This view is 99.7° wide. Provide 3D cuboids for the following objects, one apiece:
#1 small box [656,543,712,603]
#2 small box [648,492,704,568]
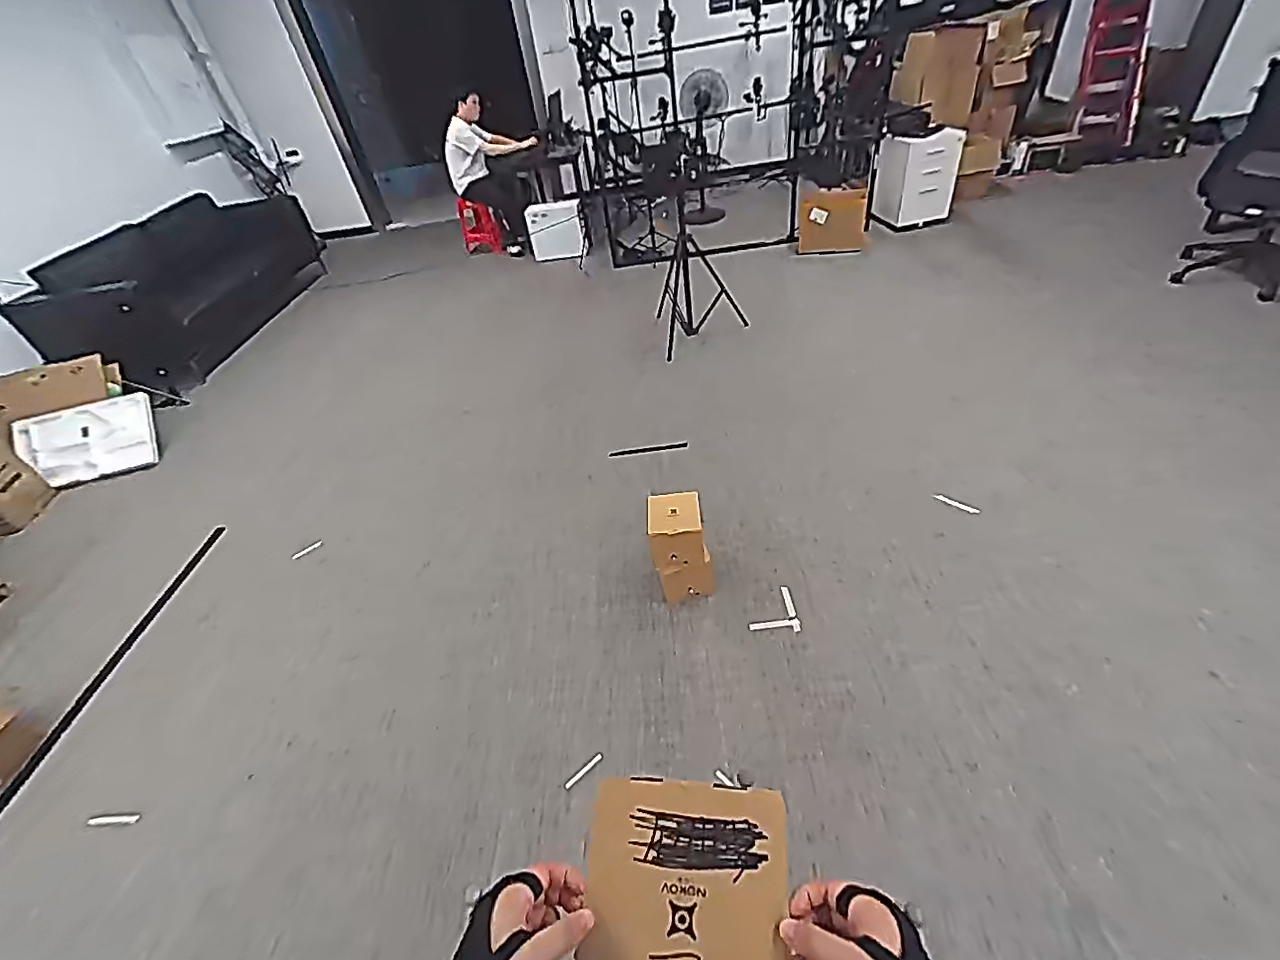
[{"bbox_3d":[0.143,0.289,1.851,0.168,0.176,0.179,-15,41,-4],"label":"small box"},{"bbox_3d":[0.115,0.163,1.751,0.168,0.176,0.179,-6,41,5],"label":"small box"}]
